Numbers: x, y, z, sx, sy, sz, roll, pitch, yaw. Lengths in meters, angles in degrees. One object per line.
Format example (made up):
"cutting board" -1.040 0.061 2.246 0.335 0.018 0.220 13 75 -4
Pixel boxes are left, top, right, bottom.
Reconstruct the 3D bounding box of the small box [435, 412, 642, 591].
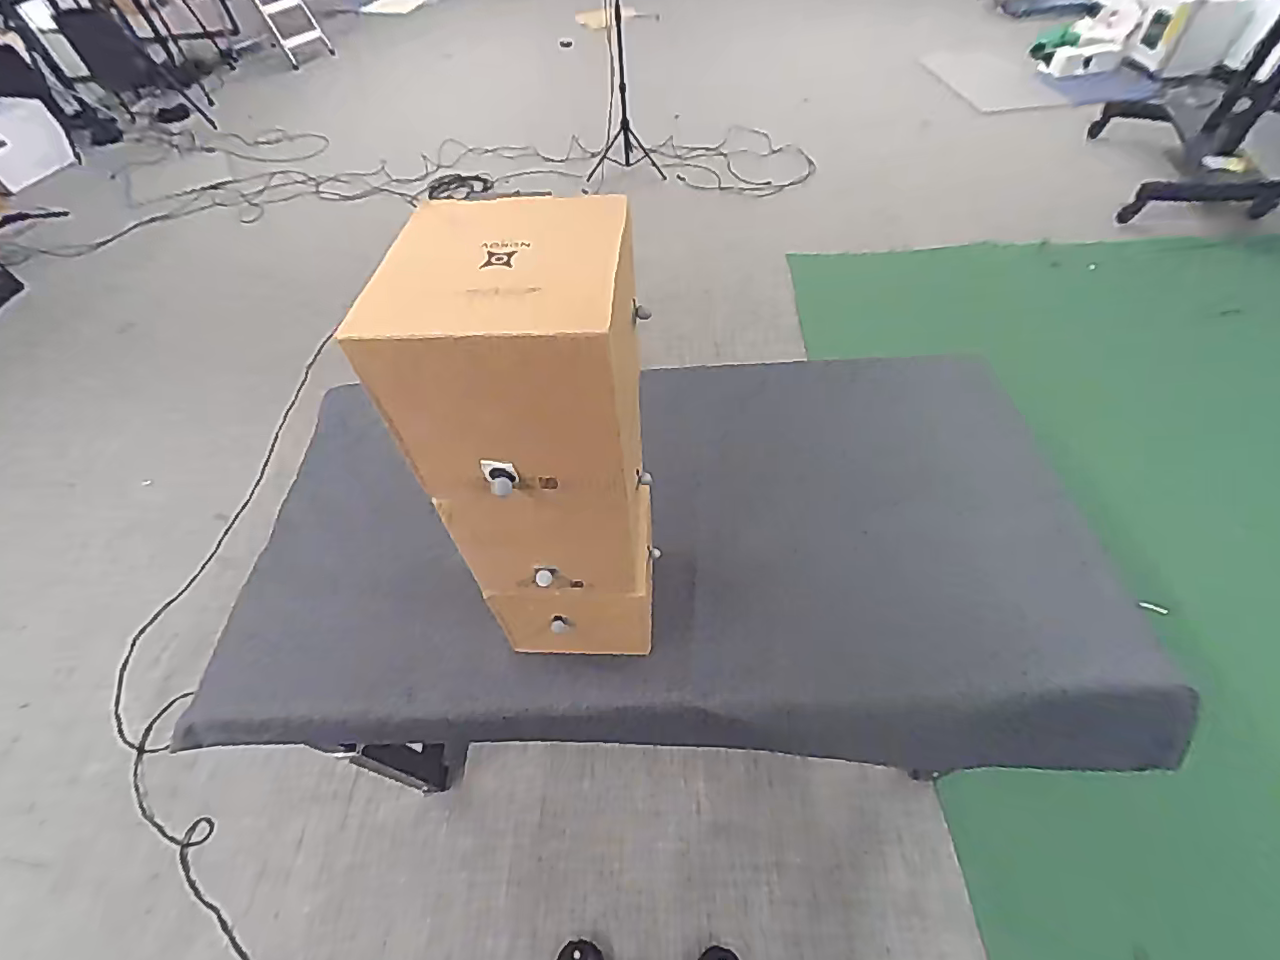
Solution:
"small box" -0.084 -0.005 0.559 0.168 0.176 0.179 1 52 3

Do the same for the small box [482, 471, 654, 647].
"small box" -0.076 0.102 0.685 0.179 0.176 0.168 1 52 4

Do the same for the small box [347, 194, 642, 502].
"small box" -0.087 -0.102 0.430 0.168 0.176 0.179 0 53 4
